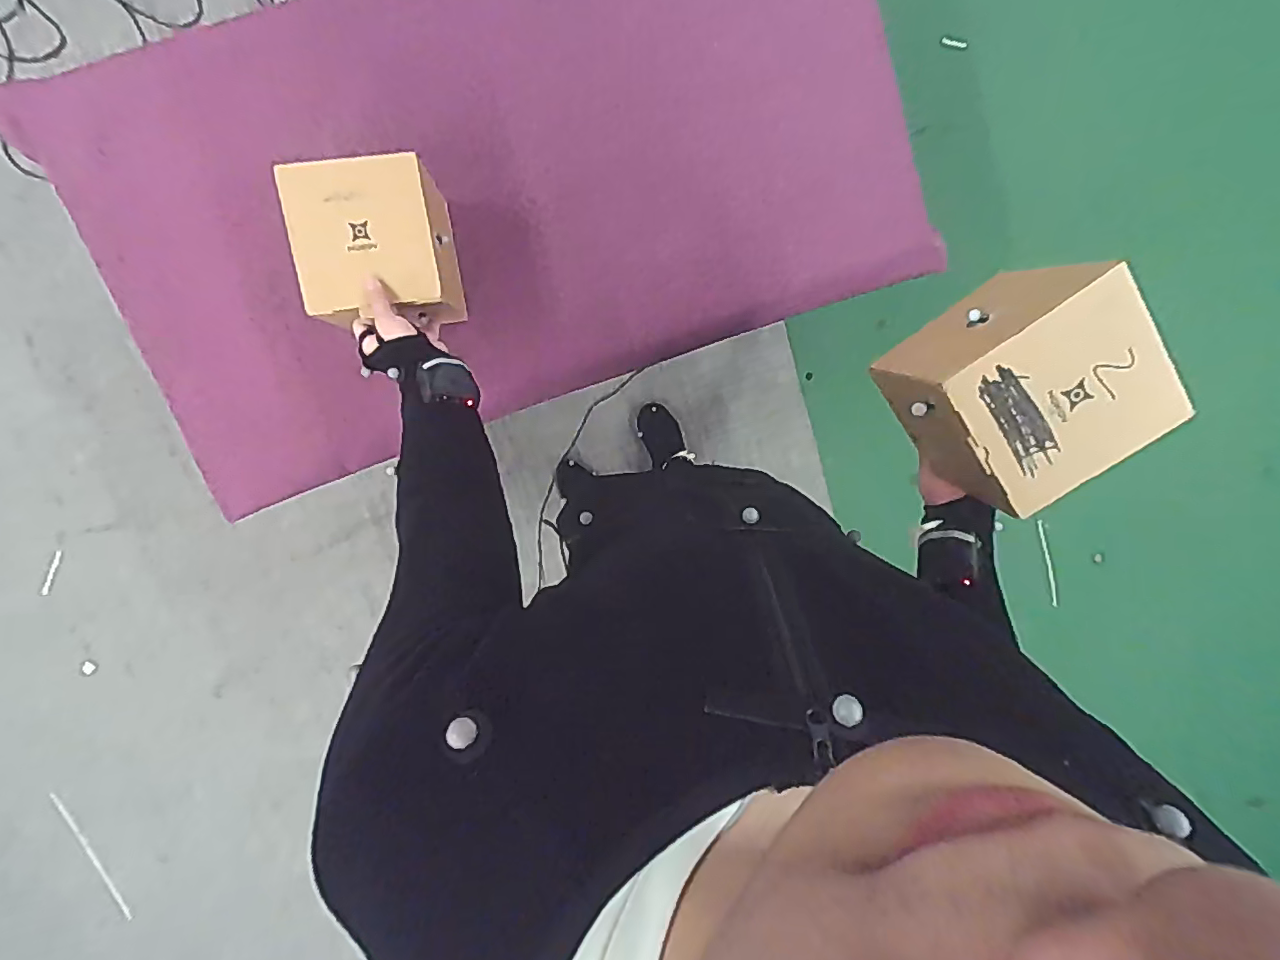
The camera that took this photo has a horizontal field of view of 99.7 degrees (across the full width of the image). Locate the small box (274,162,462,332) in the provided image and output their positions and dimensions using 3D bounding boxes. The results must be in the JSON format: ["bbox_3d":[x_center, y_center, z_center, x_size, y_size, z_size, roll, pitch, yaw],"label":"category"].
[{"bbox_3d":[-0.352,-0.302,0.738,0.168,0.176,0.179,-9,99,-6],"label":"small box"}]
